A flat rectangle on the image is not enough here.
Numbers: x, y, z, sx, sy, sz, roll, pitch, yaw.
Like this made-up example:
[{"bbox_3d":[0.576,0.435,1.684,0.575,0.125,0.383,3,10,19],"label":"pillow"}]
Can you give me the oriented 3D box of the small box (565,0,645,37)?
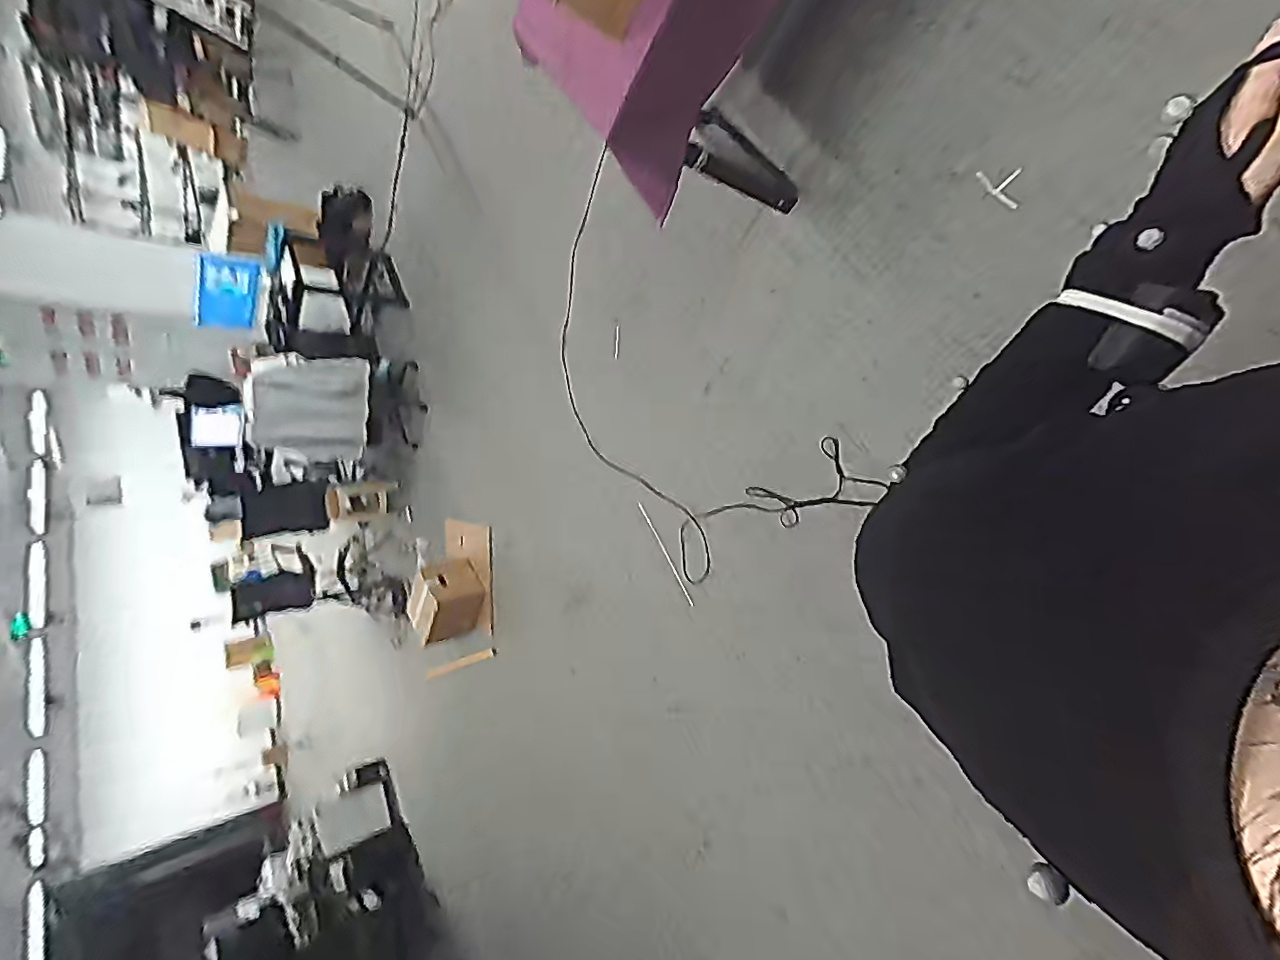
[{"bbox_3d":[-0.072,-1.060,1.097,0.179,0.176,0.168,-48,59,38],"label":"small box"}]
